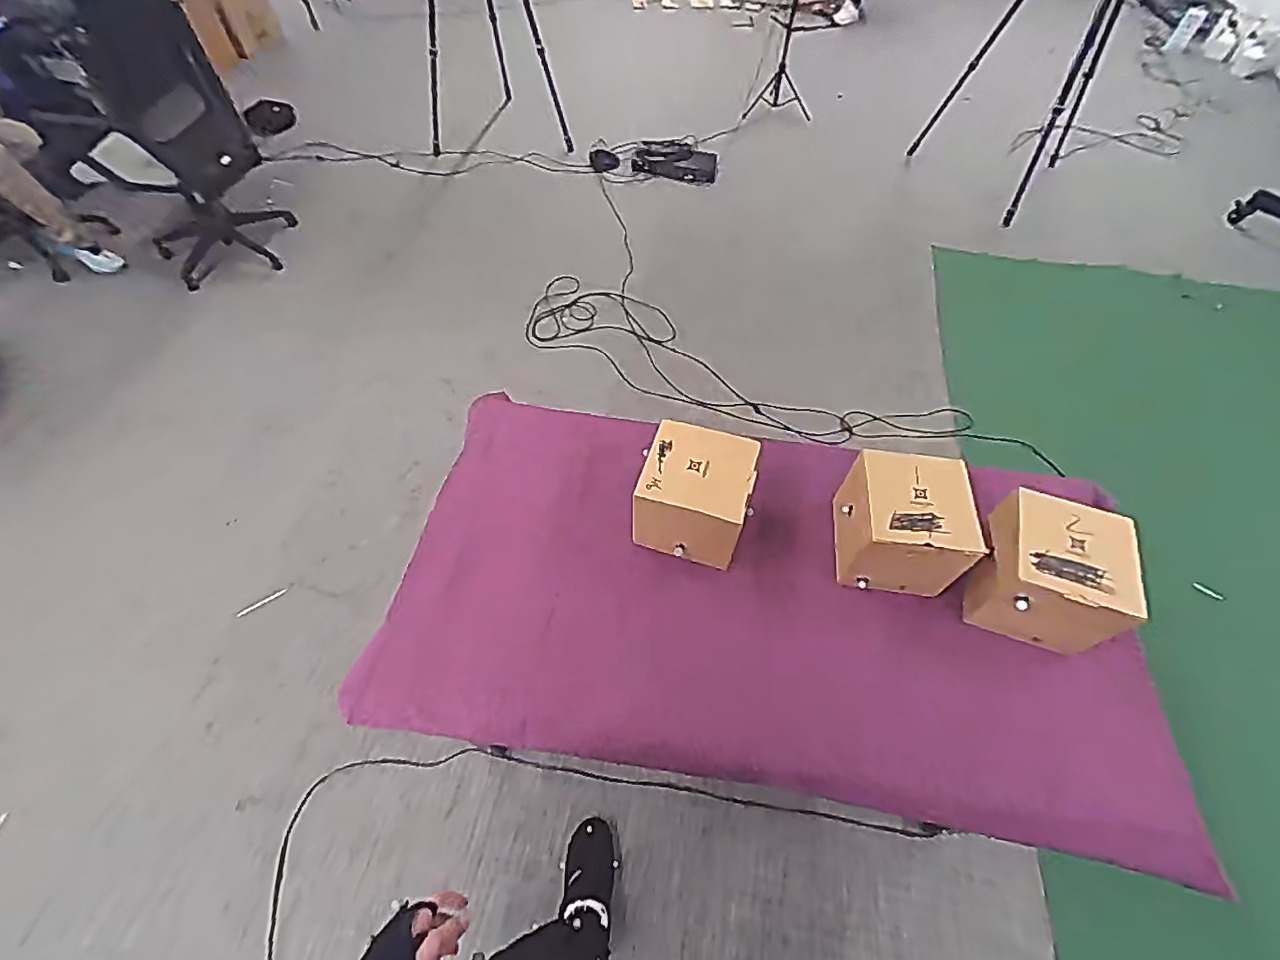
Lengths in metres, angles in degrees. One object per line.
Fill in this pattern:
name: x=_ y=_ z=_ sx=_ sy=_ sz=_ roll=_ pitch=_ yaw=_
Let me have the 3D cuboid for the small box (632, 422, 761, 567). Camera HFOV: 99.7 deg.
small box: x=0.093 y=0.031 z=0.934 sx=0.179 sy=0.176 sz=0.168 roll=16 pitch=57 yaw=9
